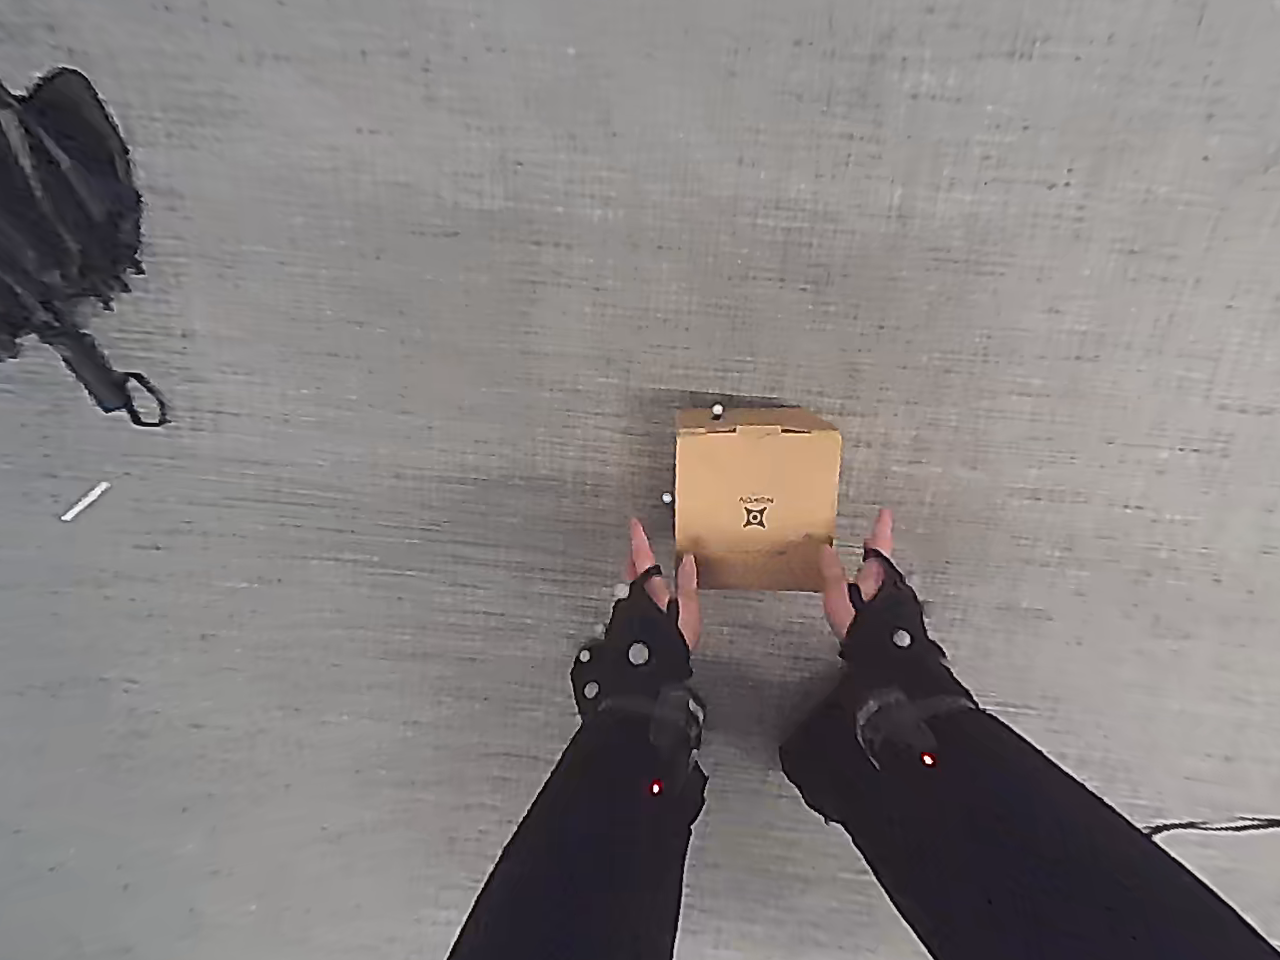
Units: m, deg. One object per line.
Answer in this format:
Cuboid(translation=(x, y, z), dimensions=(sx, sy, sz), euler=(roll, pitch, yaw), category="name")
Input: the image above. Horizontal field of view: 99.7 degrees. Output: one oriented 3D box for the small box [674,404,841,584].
Cuboid(translation=(0.124, 0.006, 0.637), dimensions=(0.168, 0.176, 0.179), euler=(1, 107, 5), category="small box")
